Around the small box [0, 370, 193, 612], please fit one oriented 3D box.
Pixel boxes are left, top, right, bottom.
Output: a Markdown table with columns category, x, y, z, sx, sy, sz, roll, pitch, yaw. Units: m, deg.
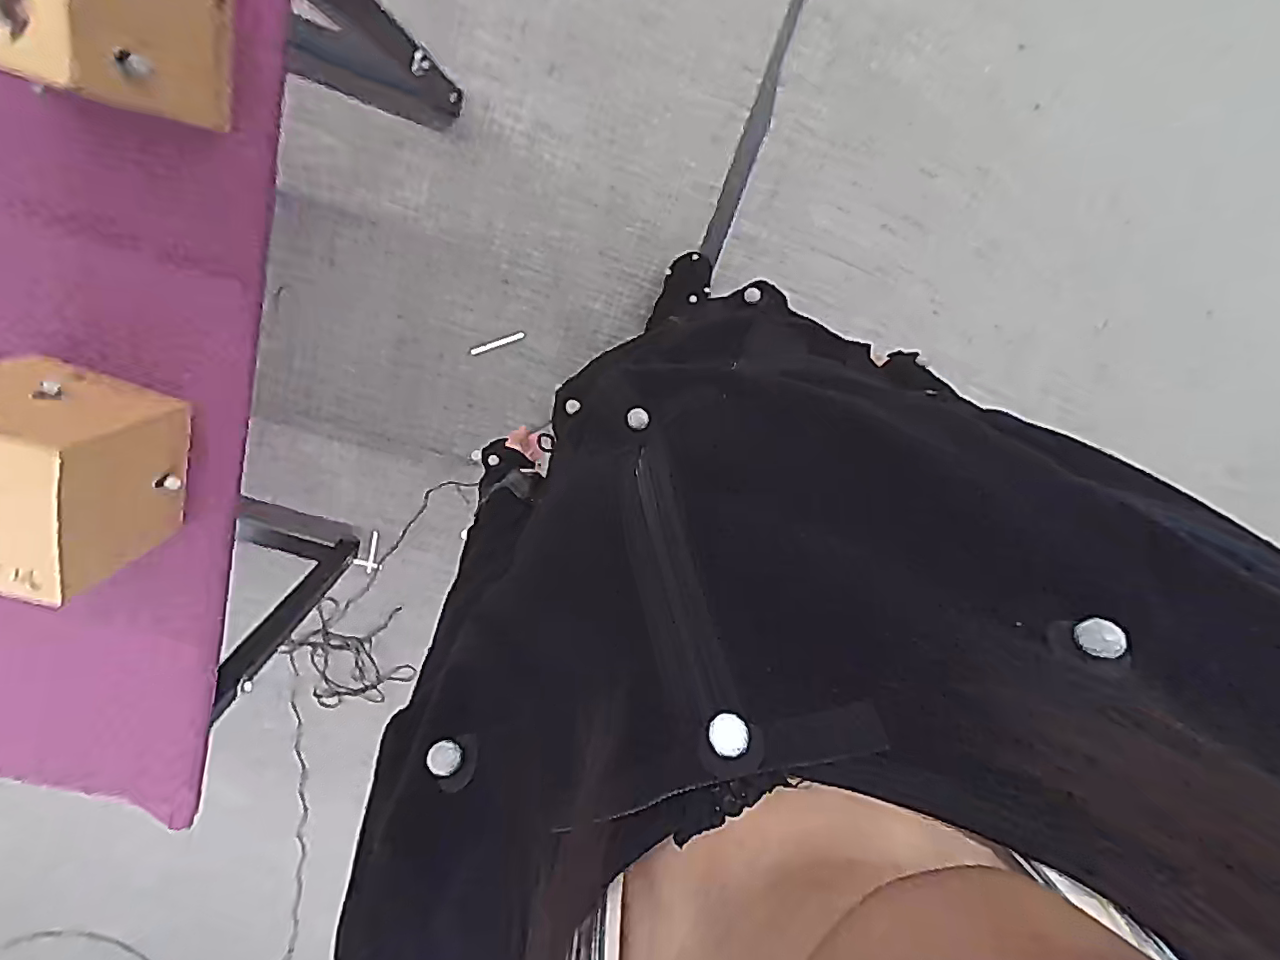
| category | x | y | z | sx | sy | sz | roll | pitch | yaw |
| --- | --- | --- | --- | --- | --- | --- | --- | --- | --- |
| small box | -0.610 | 0.001 | 0.560 | 0.168 | 0.176 | 0.179 | 18 | 110 | -11 |
